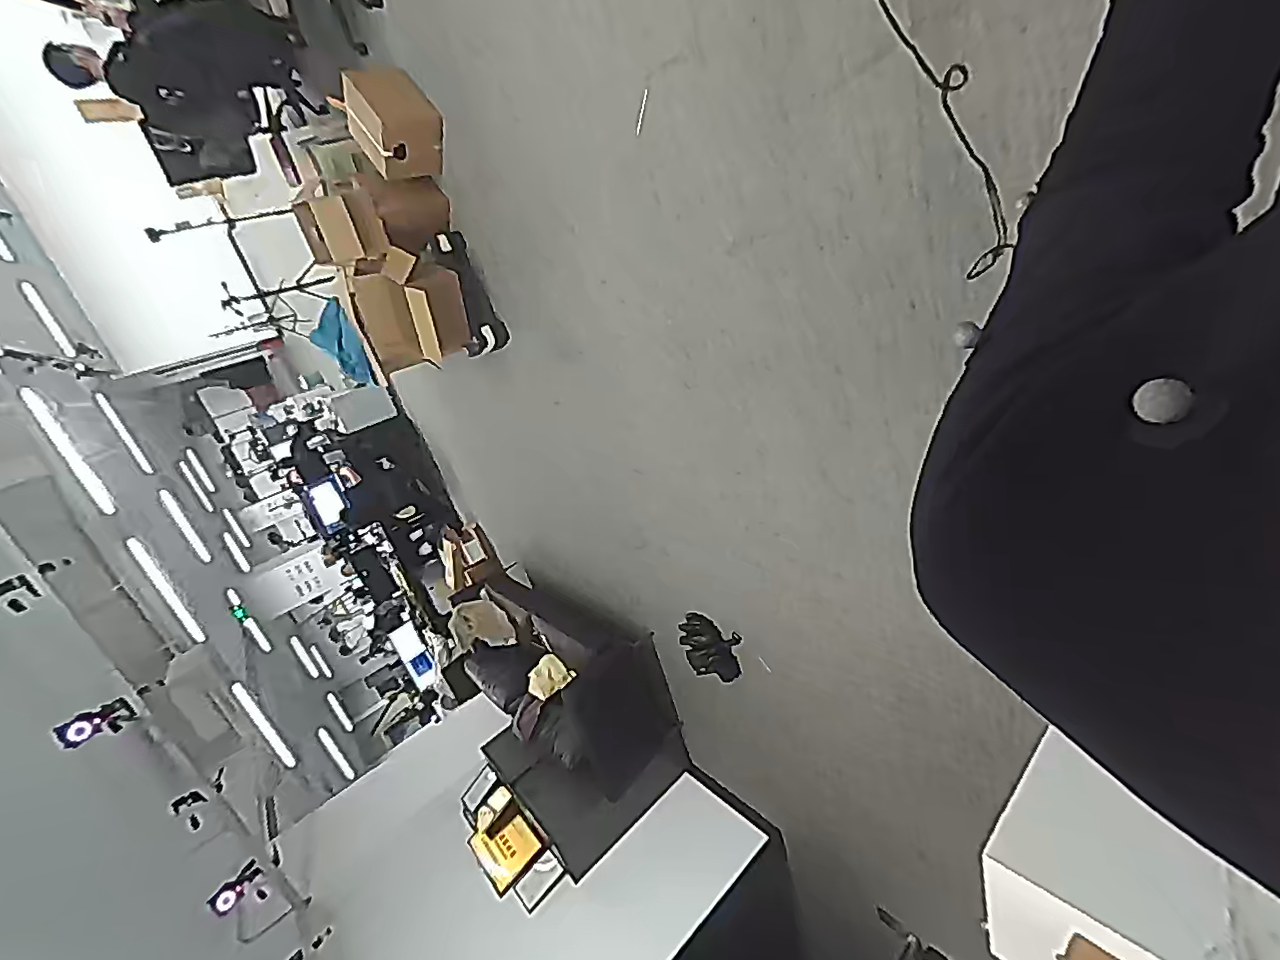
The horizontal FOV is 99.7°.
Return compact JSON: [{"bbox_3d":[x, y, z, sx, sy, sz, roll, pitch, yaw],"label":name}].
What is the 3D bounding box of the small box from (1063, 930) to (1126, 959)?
[{"bbox_3d":[0.935,1.060,1.066,0.179,0.176,0.168,14,126,52],"label":"small box"}]
